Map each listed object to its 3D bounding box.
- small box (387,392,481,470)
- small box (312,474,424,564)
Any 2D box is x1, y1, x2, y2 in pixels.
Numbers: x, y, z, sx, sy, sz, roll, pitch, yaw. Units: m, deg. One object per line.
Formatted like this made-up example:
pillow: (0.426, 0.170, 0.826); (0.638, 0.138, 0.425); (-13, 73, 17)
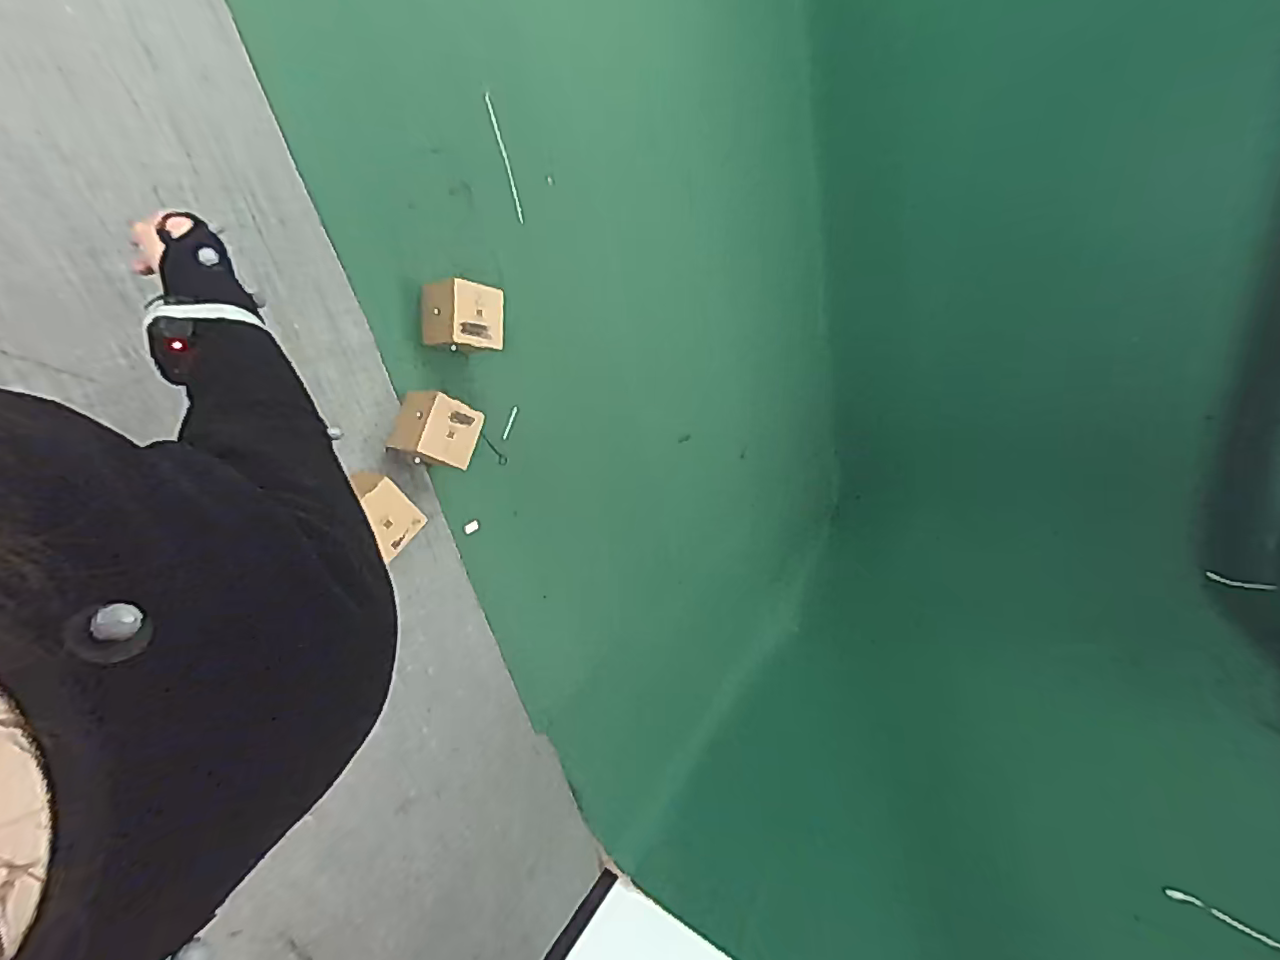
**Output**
small box: (-0.598, -0.144, 1.563); (0.168, 0.176, 0.179); (29, 74, -49)
small box: (-0.728, 0.097, 1.441); (0.168, 0.176, 0.179); (-55, 133, -31)
